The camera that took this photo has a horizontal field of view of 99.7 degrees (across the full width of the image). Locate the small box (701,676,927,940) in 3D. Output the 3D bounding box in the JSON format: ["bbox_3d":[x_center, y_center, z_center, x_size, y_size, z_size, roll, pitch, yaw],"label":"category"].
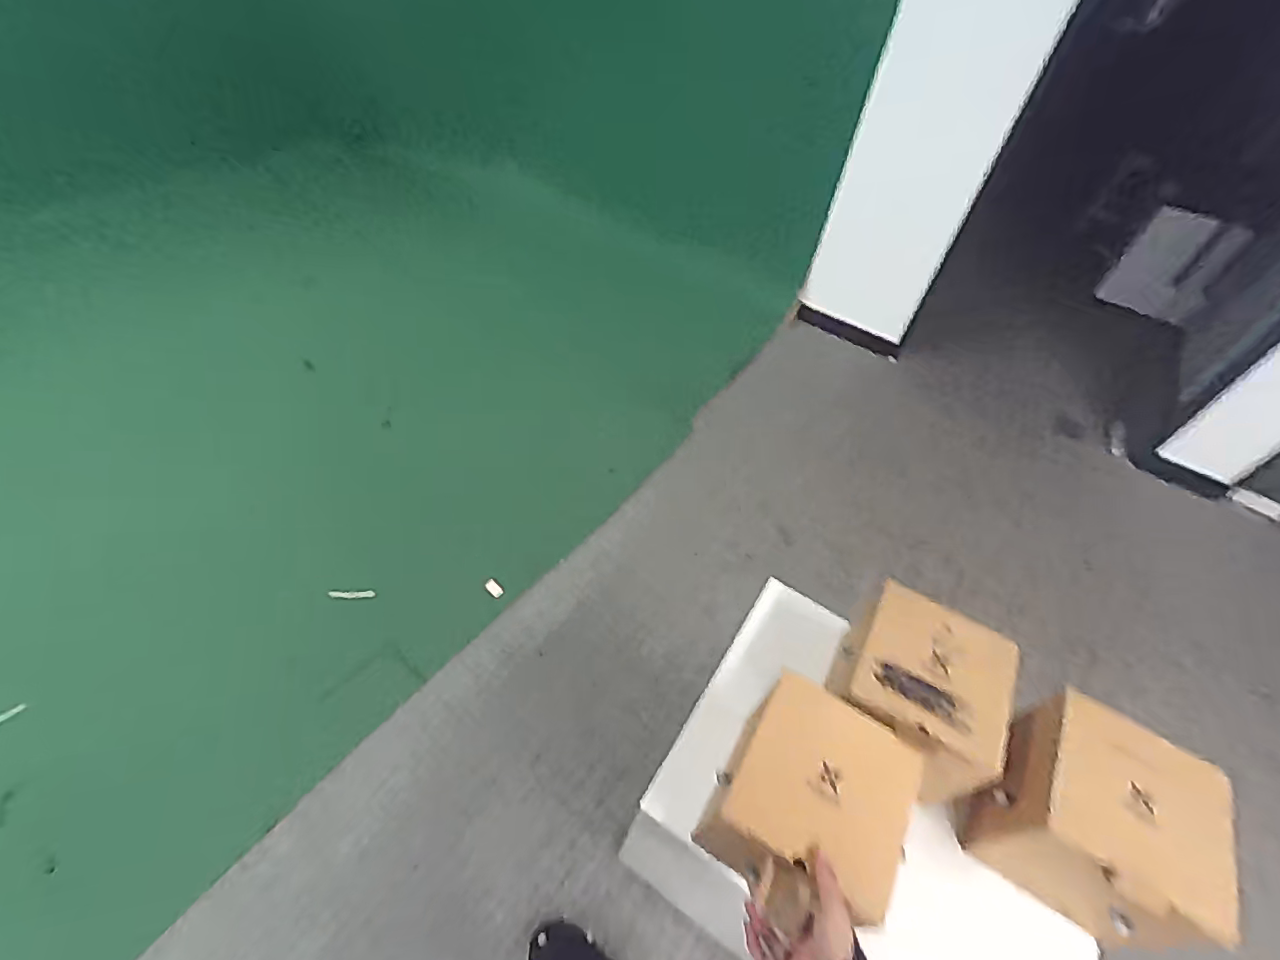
[{"bbox_3d":[0.183,0.363,0.603,0.168,0.176,0.179,28,52,16],"label":"small box"}]

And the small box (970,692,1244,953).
[{"bbox_3d":[0.511,0.387,0.616,0.168,0.176,0.179,29,52,17],"label":"small box"}]
